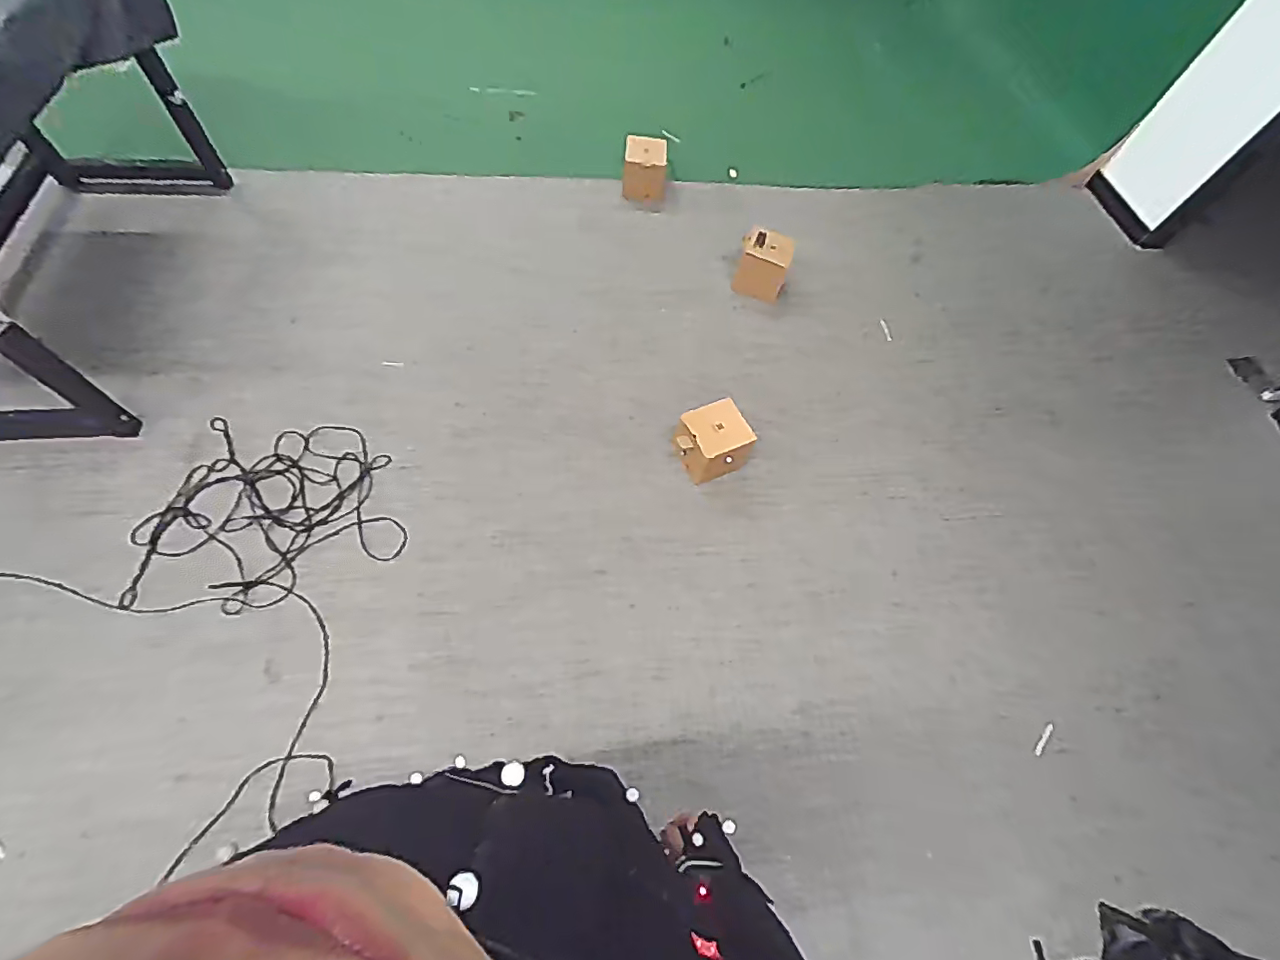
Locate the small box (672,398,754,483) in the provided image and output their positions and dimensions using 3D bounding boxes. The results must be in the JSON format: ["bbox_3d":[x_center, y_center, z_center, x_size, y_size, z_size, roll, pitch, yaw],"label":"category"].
[{"bbox_3d":[0.215,-0.118,1.646,0.179,0.176,0.168,-22,67,-16],"label":"small box"}]

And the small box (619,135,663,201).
[{"bbox_3d":[0.001,-1.294,2.247,0.168,0.176,0.179,5,61,-6],"label":"small box"}]
